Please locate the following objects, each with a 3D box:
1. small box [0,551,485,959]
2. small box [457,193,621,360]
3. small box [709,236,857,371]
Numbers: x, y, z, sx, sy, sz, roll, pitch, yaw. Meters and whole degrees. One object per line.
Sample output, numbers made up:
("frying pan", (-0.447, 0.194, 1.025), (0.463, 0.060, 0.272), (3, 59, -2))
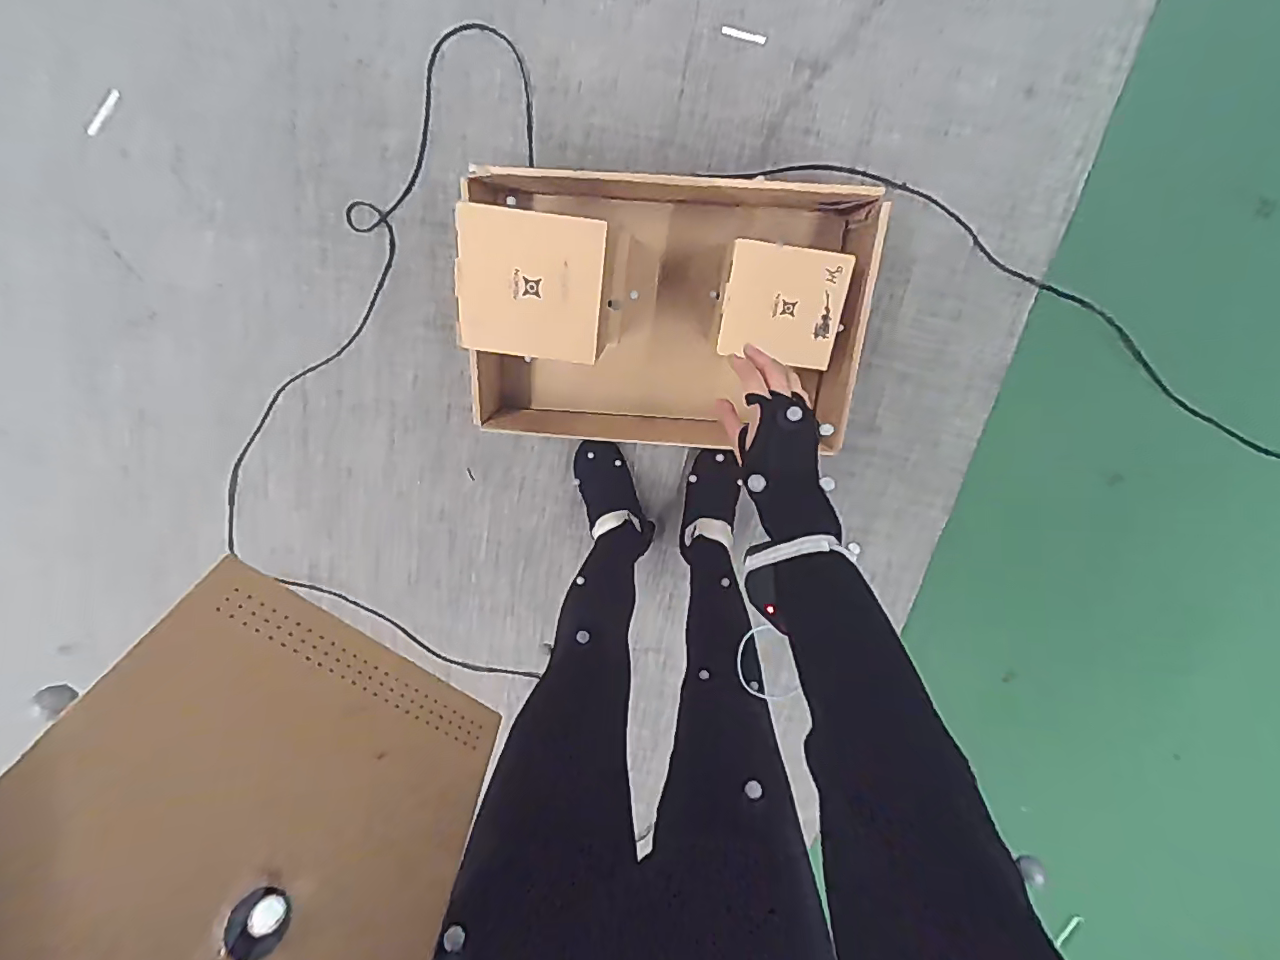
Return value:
("small box", (-0.204, 0.168, 0.258), (0.168, 0.176, 0.179), (-36, 114, 23))
("small box", (-0.125, -0.264, 0.712), (0.179, 0.176, 0.168), (8, 112, -2))
("small box", (0.213, -0.282, 0.866), (0.179, 0.176, 0.168), (10, 111, -1))
